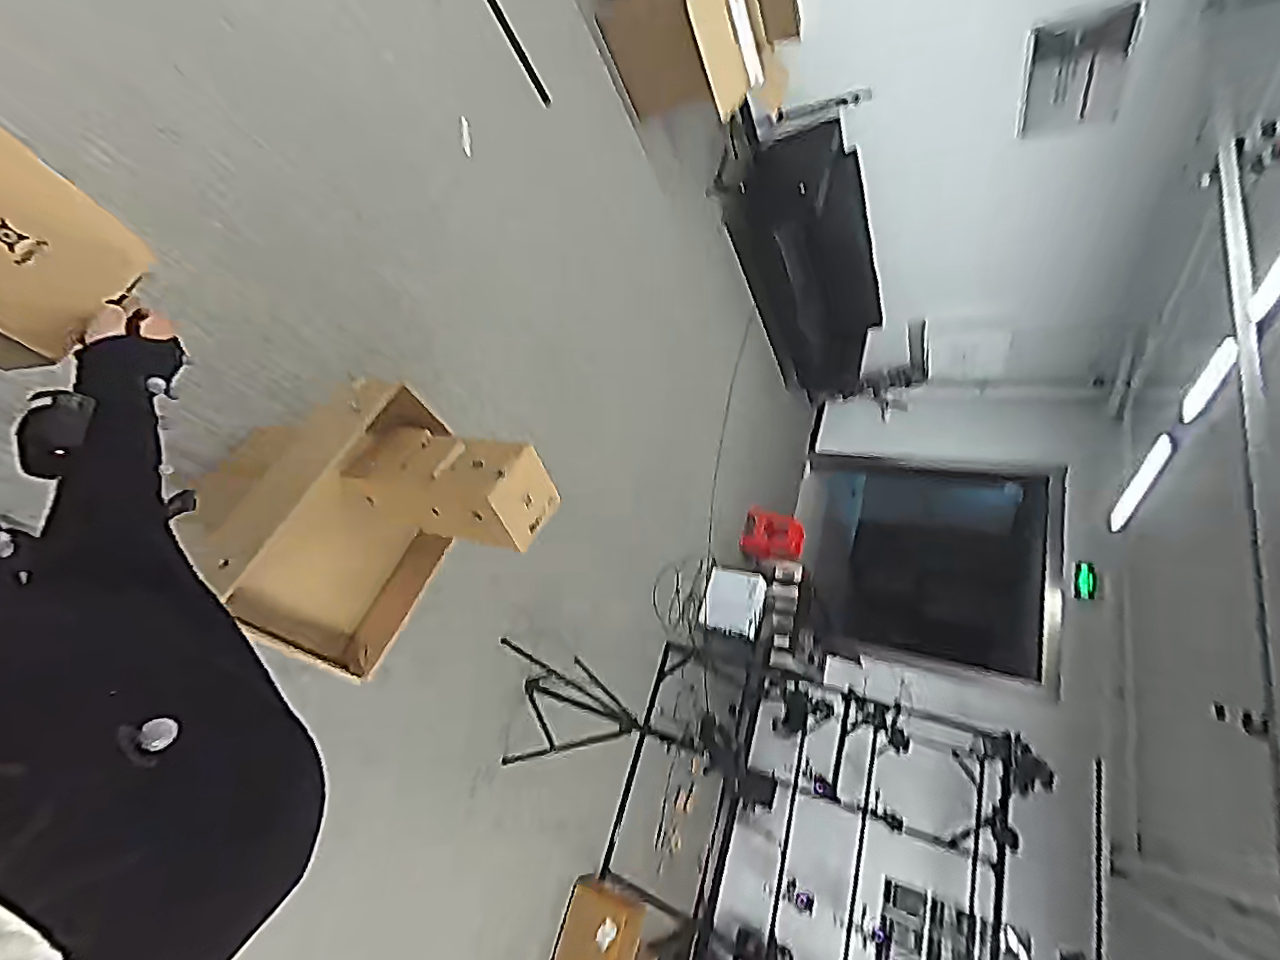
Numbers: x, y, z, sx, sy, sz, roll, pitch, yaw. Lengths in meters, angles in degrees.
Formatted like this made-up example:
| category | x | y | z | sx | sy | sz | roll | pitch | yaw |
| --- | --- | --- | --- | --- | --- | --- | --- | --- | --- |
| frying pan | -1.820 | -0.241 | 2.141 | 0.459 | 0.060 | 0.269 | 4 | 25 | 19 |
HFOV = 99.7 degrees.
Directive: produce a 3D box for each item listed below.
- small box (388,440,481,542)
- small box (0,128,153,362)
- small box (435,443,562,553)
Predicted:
| category | x | y | z | sx | sy | sz | roll | pitch | yaw |
| --- | --- | --- | --- | --- | --- | --- | --- | --- | --- |
| small box | -0.444 | 0.021 | 1.264 | 0.168 | 0.176 | 0.179 | -60 | 143 | -34 |
| small box | -0.674 | -0.237 | 0.547 | 0.179 | 0.176 | 0.168 | 54 | 46 | -51 |
| small box | -0.306 | 0.035 | 1.175 | 0.168 | 0.176 | 0.179 | -57 | 140 | -37 |
